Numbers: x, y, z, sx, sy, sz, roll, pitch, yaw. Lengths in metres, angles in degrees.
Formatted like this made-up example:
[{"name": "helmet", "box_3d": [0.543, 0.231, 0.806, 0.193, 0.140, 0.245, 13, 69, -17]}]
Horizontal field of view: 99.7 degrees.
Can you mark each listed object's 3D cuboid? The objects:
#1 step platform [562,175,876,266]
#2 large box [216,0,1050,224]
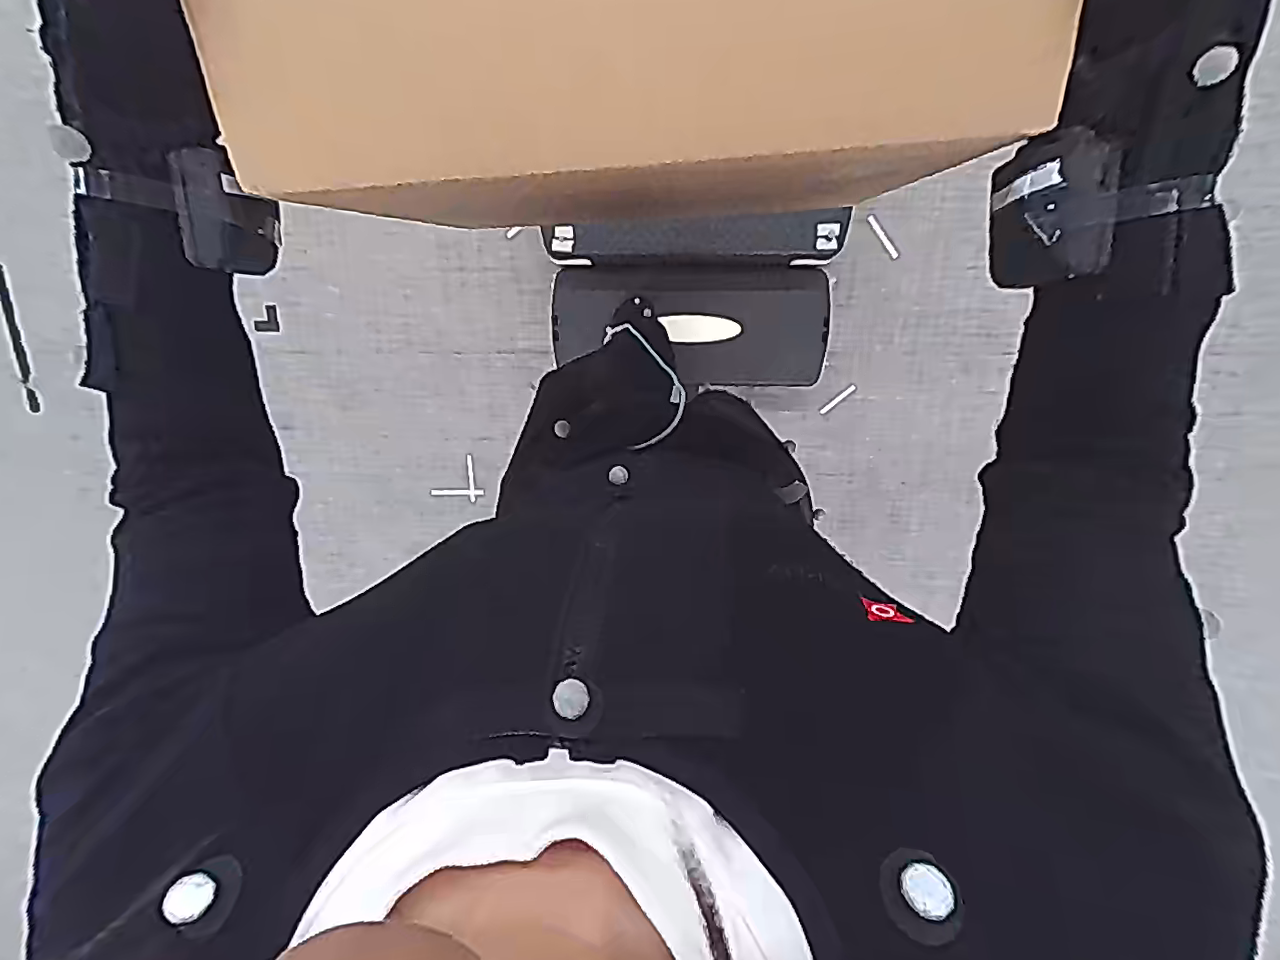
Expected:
[{"name": "step platform", "box_3d": [0.161, -0.644, 1.211, 0.684, 0.204, 0.286, 0, 107, 3]}, {"name": "large box", "box_3d": [-0.008, -0.367, 0.363, 0.408, 0.320, 0.320, -1, 112, 6]}]
